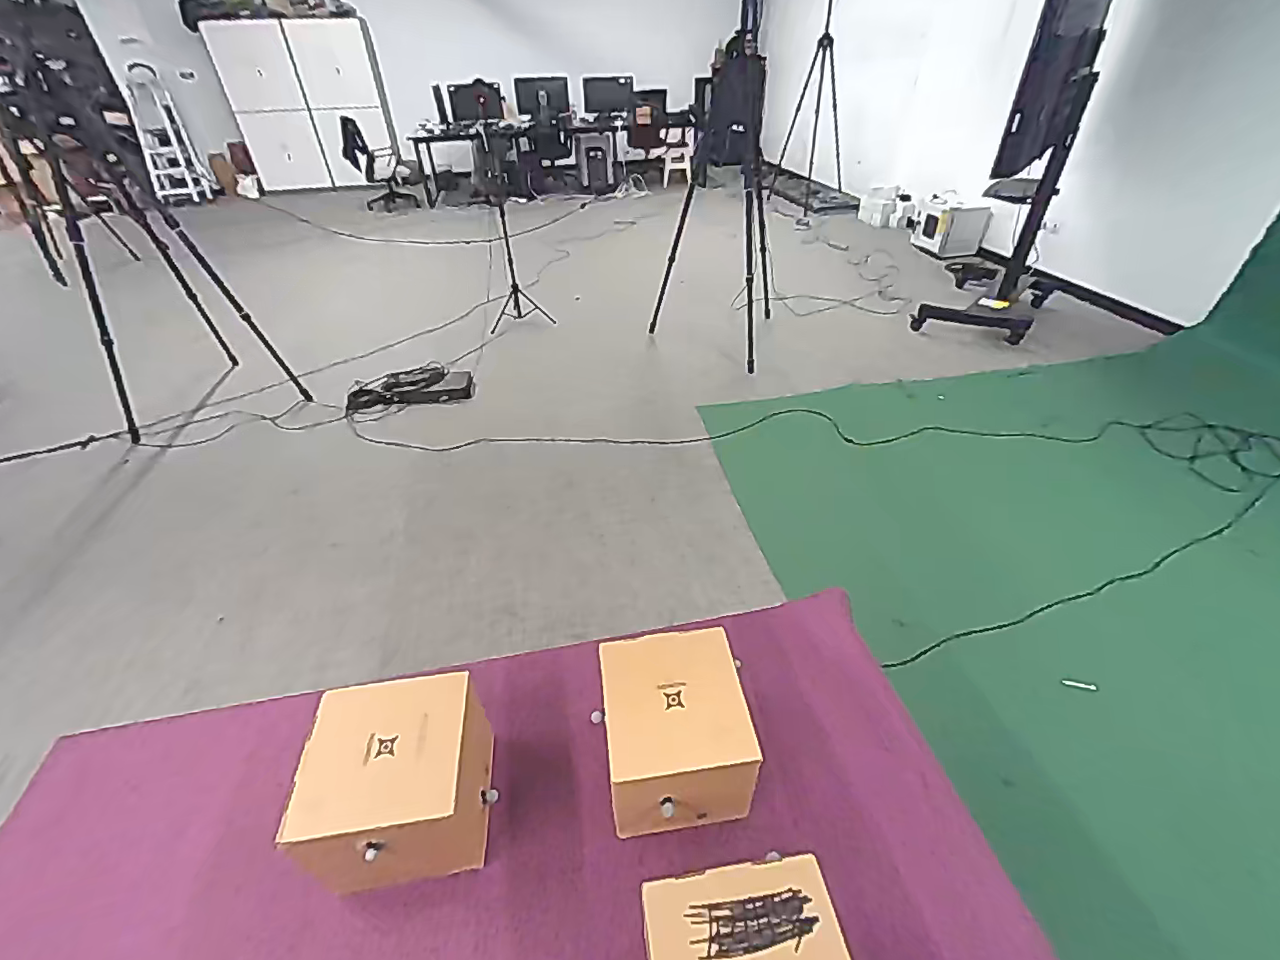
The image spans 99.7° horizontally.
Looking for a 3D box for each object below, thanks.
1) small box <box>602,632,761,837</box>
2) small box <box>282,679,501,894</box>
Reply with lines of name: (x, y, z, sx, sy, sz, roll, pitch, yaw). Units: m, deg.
small box: (0.047, 0.324, 0.685, 0.168, 0.176, 0.179, -7, 38, -4)
small box: (-0.277, 0.369, 0.652, 0.179, 0.176, 0.168, -6, 39, -5)
